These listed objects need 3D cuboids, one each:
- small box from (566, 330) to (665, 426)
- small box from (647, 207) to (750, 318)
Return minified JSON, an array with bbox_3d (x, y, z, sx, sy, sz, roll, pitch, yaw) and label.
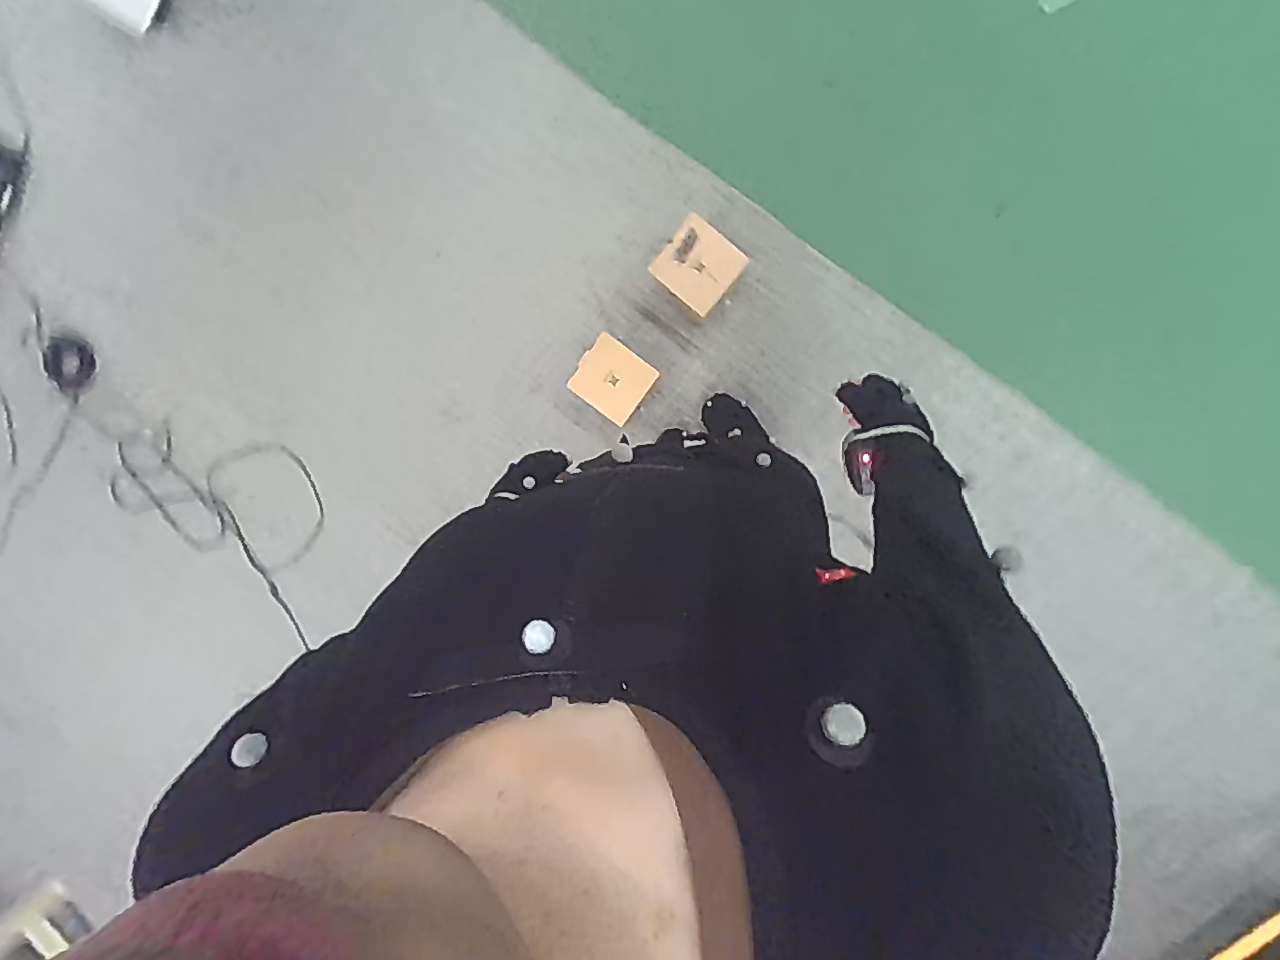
[{"bbox_3d":[-0.053,-0.259,1.377,0.179,0.176,0.168,36,102,2],"label":"small box"},{"bbox_3d":[0.142,-0.511,1.305,0.179,0.176,0.168,40,103,0],"label":"small box"}]
